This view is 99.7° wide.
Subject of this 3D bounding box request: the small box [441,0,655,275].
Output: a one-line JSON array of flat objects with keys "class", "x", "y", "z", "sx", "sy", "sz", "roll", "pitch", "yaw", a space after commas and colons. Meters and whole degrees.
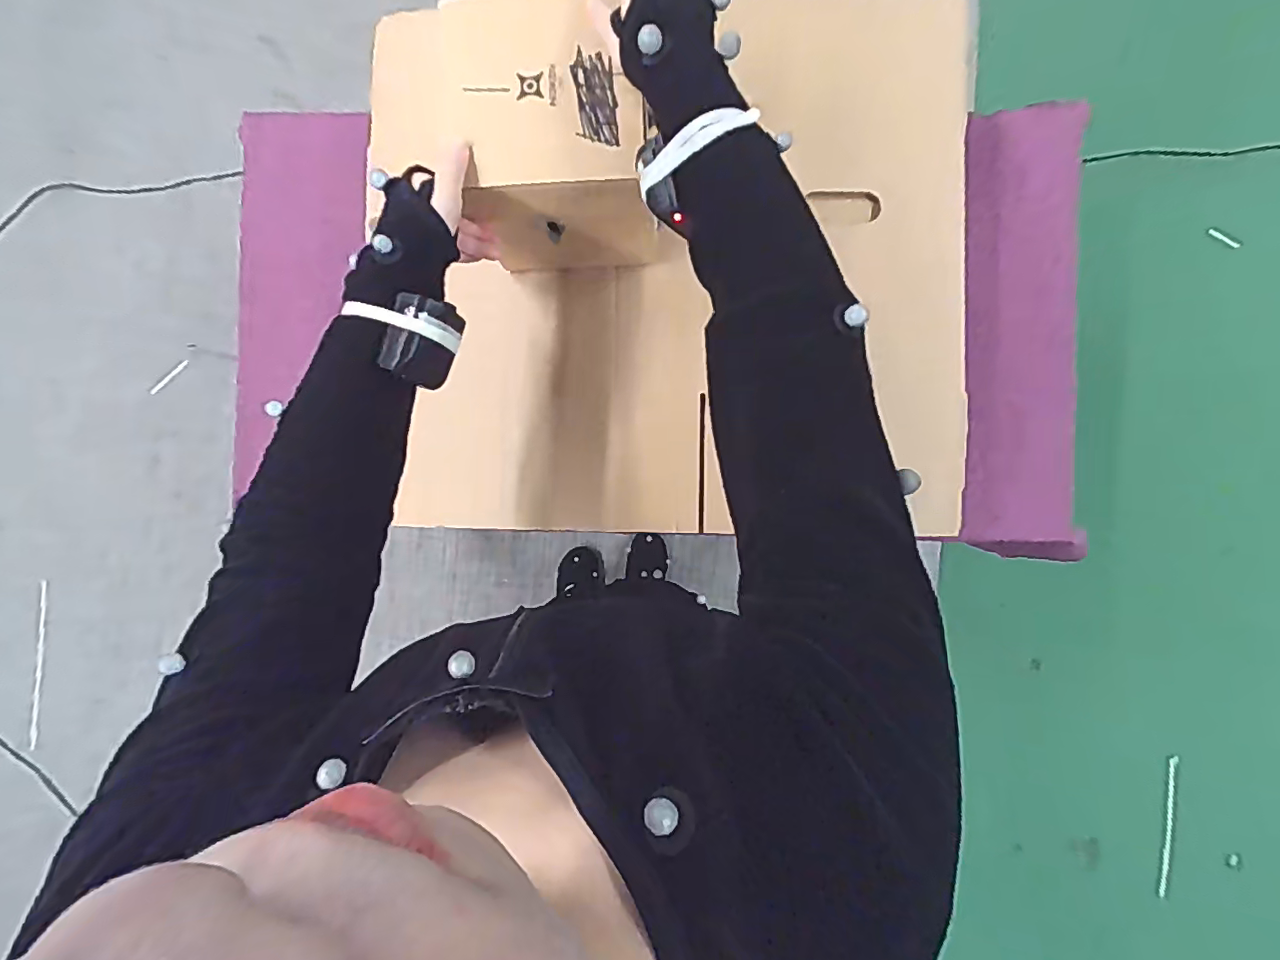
[{"class": "small box", "x": -0.076, "y": -0.316, "z": 0.533, "sx": 0.179, "sy": 0.176, "sz": 0.168, "roll": -1, "pitch": 89, "yaw": 6}]
